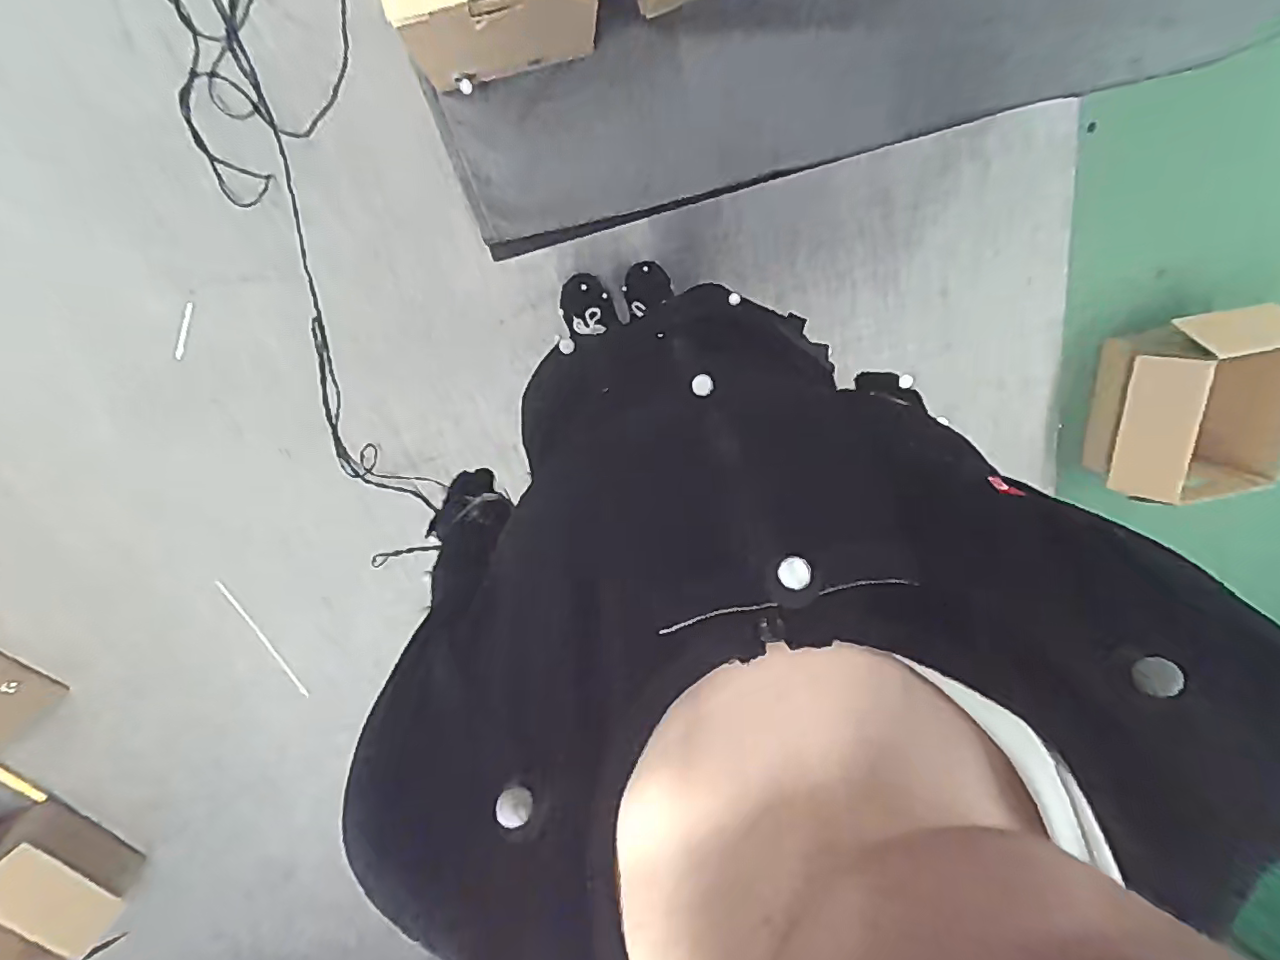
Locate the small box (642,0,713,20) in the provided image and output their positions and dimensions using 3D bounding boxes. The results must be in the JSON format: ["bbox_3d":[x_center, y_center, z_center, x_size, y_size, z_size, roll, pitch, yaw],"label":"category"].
[{"bbox_3d":[0.074,-0.539,0.452,0.179,0.176,0.168,-22,114,2],"label":"small box"}]
